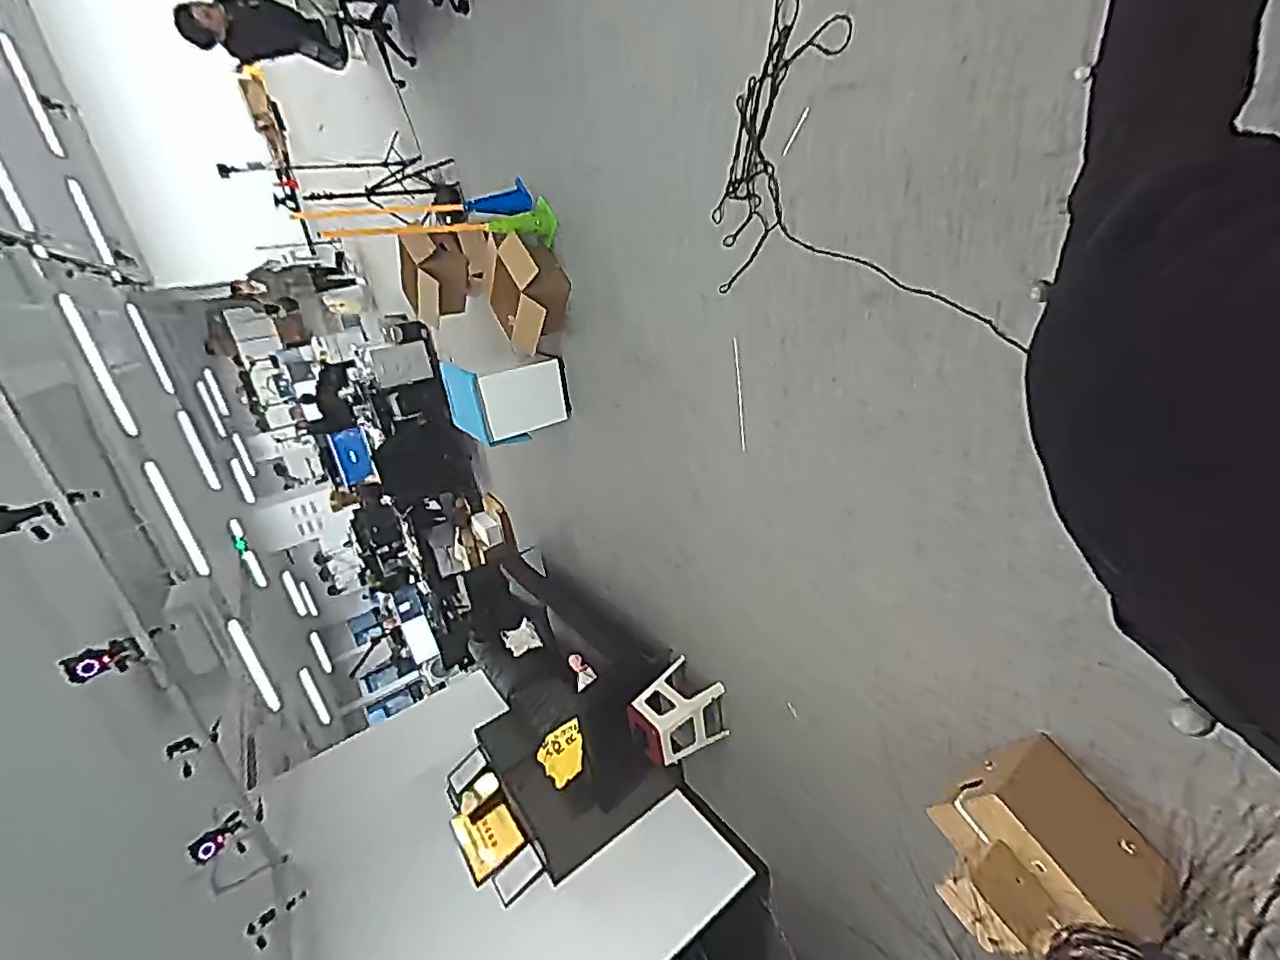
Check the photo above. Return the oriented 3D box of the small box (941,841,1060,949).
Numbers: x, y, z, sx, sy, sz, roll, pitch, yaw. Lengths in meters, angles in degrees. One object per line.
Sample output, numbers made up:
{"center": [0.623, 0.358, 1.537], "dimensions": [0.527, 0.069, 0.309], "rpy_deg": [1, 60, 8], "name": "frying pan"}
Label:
{"center": [0.975, 1.117, 1.467], "dimensions": [0.179, 0.176, 0.168], "rpy_deg": [50, 147, 29], "name": "small box"}
